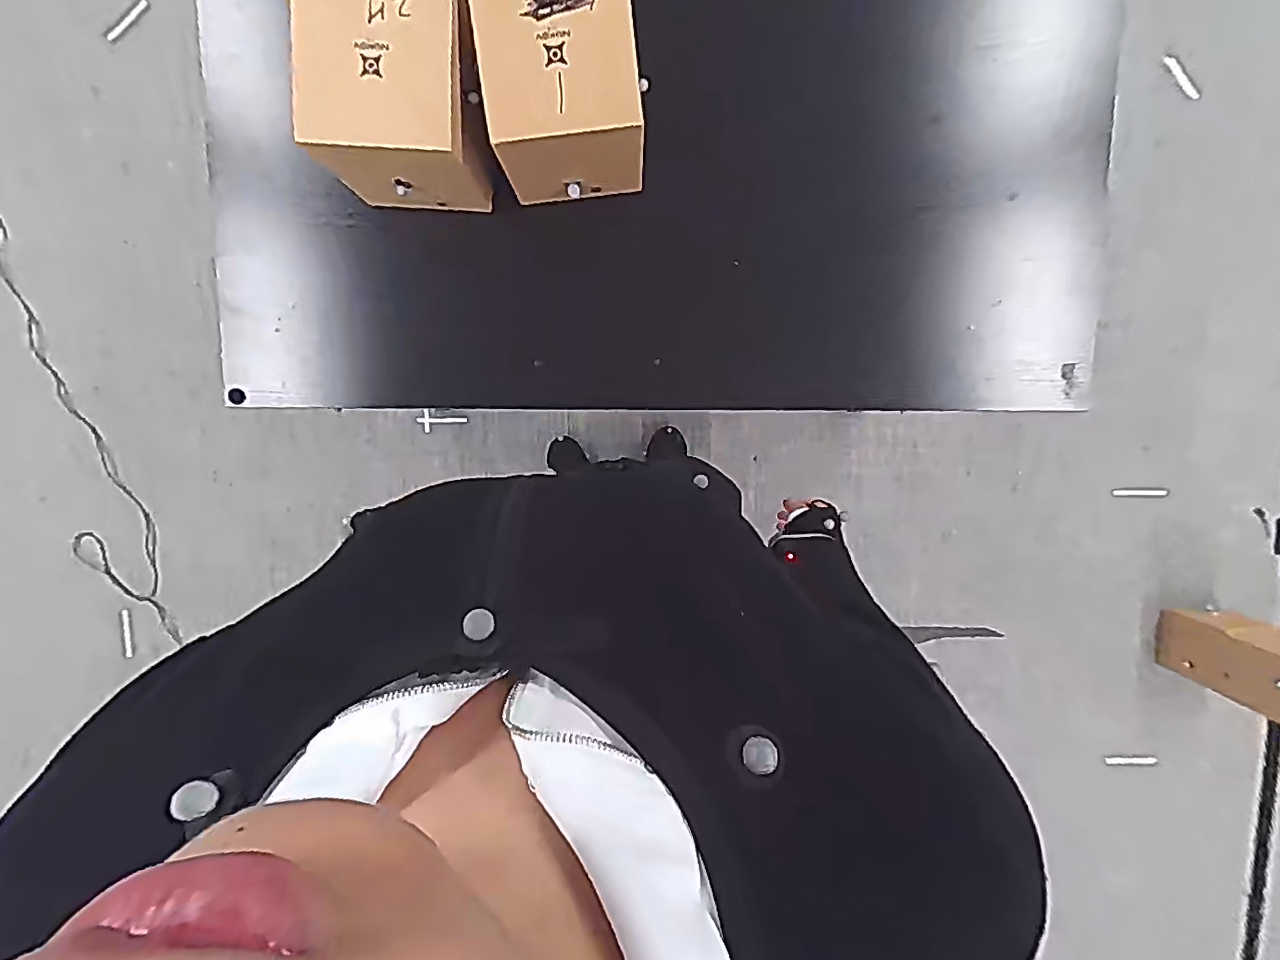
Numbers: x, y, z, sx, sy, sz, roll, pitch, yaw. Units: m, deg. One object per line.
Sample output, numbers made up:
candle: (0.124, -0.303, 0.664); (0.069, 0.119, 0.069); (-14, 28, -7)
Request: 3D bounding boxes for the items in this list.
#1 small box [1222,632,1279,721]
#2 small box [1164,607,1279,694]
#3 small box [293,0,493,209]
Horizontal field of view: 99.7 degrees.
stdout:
small box: (1.580, 0.476, 1.300); (0.179, 0.176, 0.168); (-2, 96, -1)
small box: (1.581, 0.457, 1.463); (0.168, 0.176, 0.179); (-1, 95, -1)
small box: (-0.276, -0.443, 0.639); (0.168, 0.176, 0.179); (2, 95, -1)
